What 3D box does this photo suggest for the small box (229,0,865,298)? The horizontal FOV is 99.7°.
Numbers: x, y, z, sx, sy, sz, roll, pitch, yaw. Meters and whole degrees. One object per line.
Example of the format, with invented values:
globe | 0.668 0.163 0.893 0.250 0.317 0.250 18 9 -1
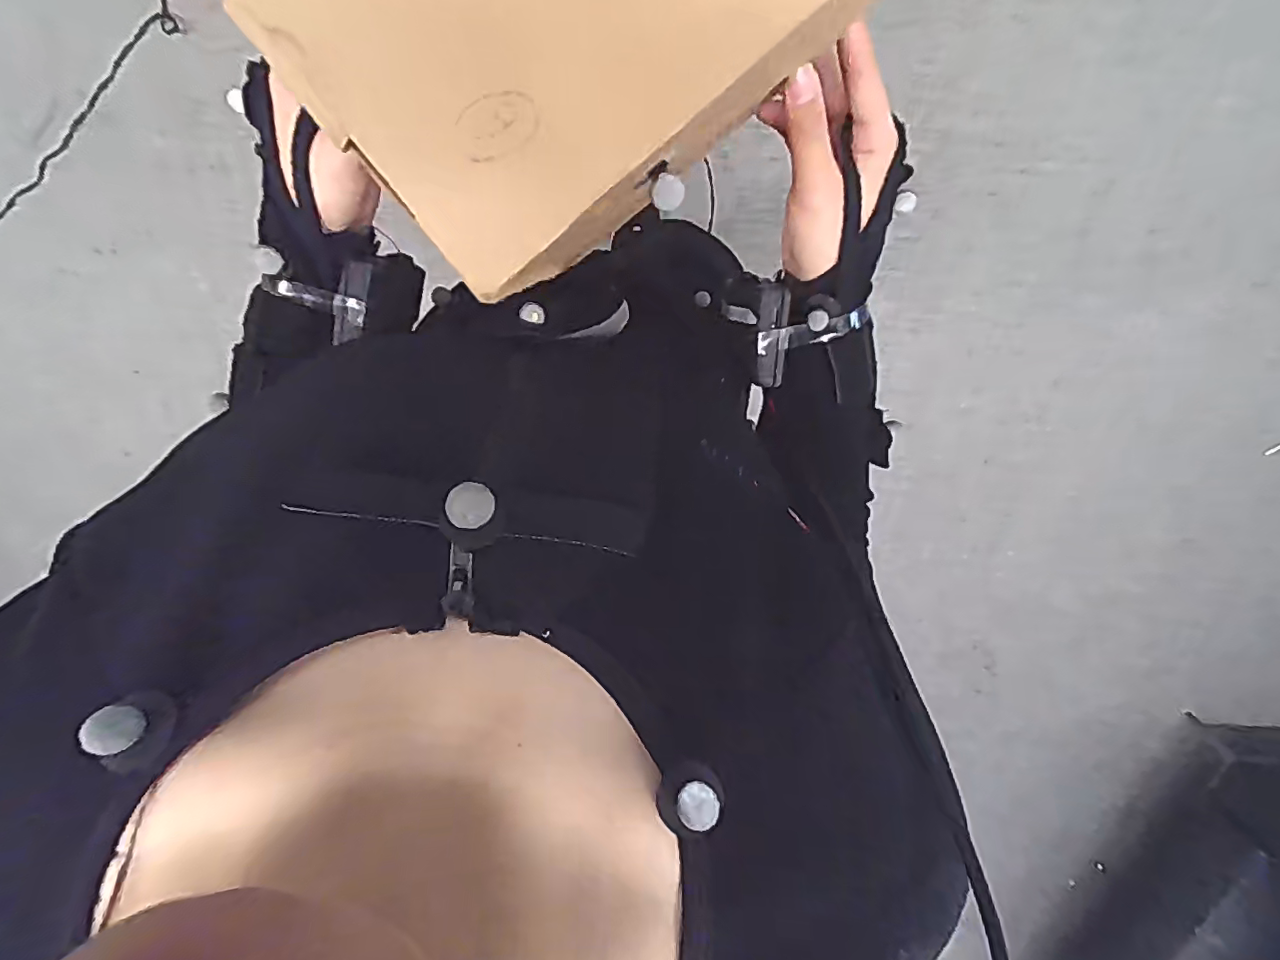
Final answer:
small box | -0.027 -0.196 0.207 0.179 0.176 0.168 -33 108 17
